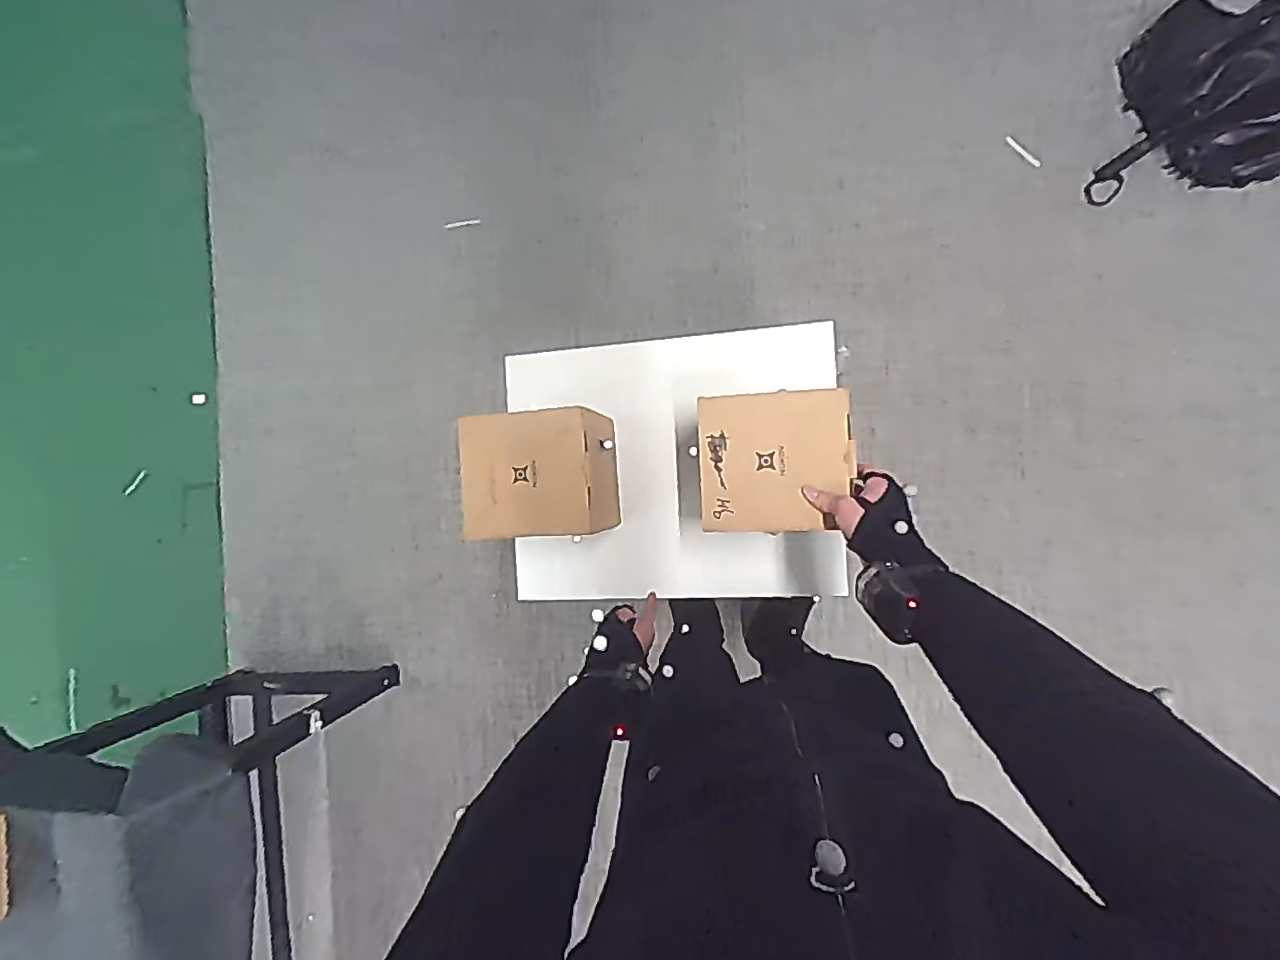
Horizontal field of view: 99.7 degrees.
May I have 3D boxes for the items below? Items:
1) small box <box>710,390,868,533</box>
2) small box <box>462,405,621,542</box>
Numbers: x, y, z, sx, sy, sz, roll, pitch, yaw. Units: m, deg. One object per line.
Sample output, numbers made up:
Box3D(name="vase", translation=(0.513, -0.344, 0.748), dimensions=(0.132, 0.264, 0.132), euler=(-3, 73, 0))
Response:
Box3D(name="small box", translation=(0.181, -0.019, 0.701), dimensions=(0.179, 0.176, 0.168), euler=(-1, 87, 9))
Box3D(name="small box", translation=(-0.125, -0.005, 0.754), dimensions=(0.179, 0.176, 0.168), euler=(-4, 86, 9))
